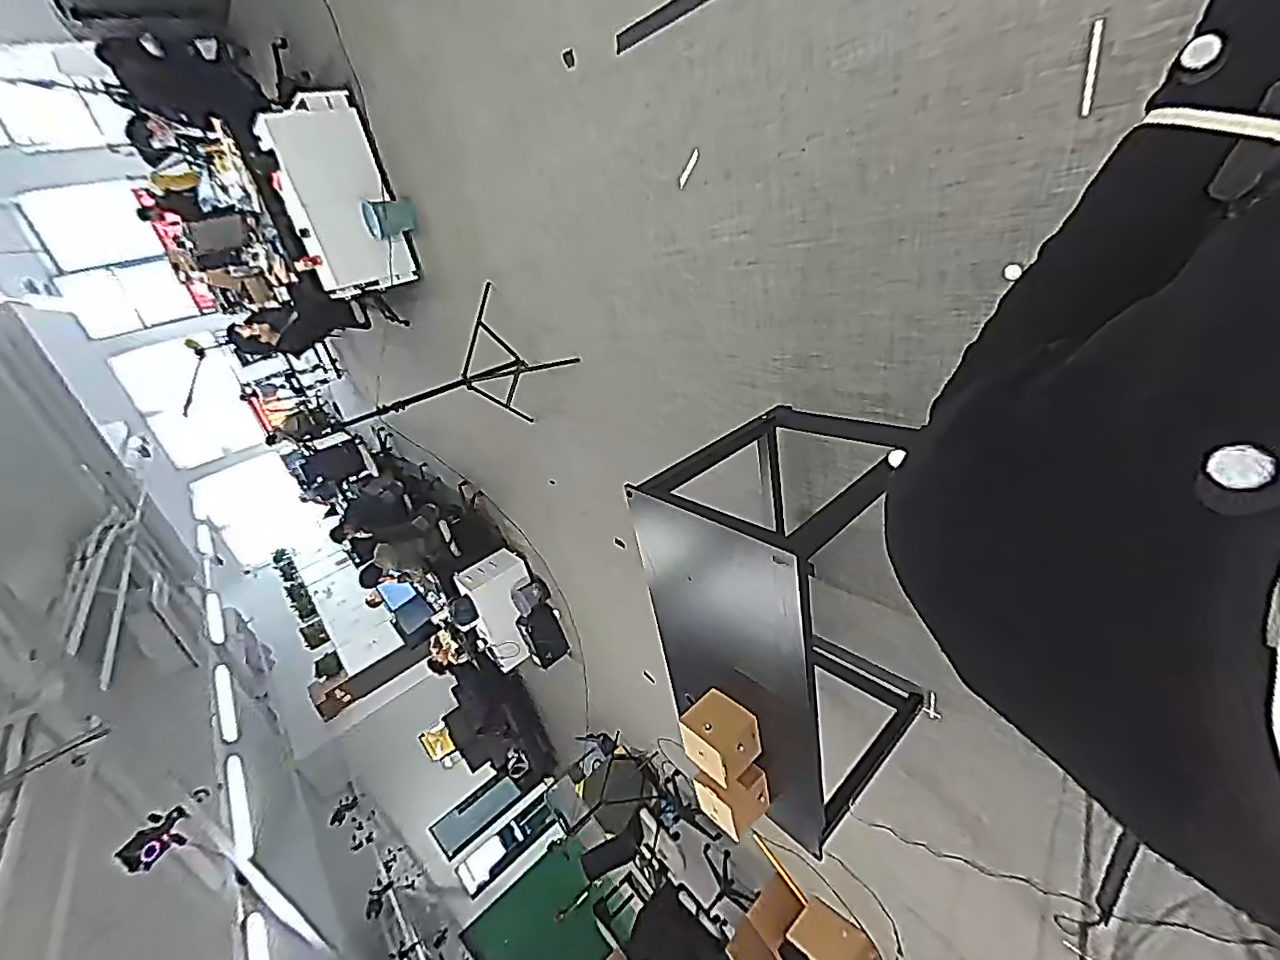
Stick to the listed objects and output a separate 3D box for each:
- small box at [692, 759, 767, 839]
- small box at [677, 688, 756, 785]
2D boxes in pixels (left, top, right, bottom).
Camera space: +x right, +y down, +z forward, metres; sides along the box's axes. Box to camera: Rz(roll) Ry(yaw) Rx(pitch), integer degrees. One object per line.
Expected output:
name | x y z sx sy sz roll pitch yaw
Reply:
small box | 0.298 1.010 1.771 0.168 0.176 0.179 18 129 48
small box | 0.242 0.778 1.661 0.179 0.176 0.168 20 130 48
